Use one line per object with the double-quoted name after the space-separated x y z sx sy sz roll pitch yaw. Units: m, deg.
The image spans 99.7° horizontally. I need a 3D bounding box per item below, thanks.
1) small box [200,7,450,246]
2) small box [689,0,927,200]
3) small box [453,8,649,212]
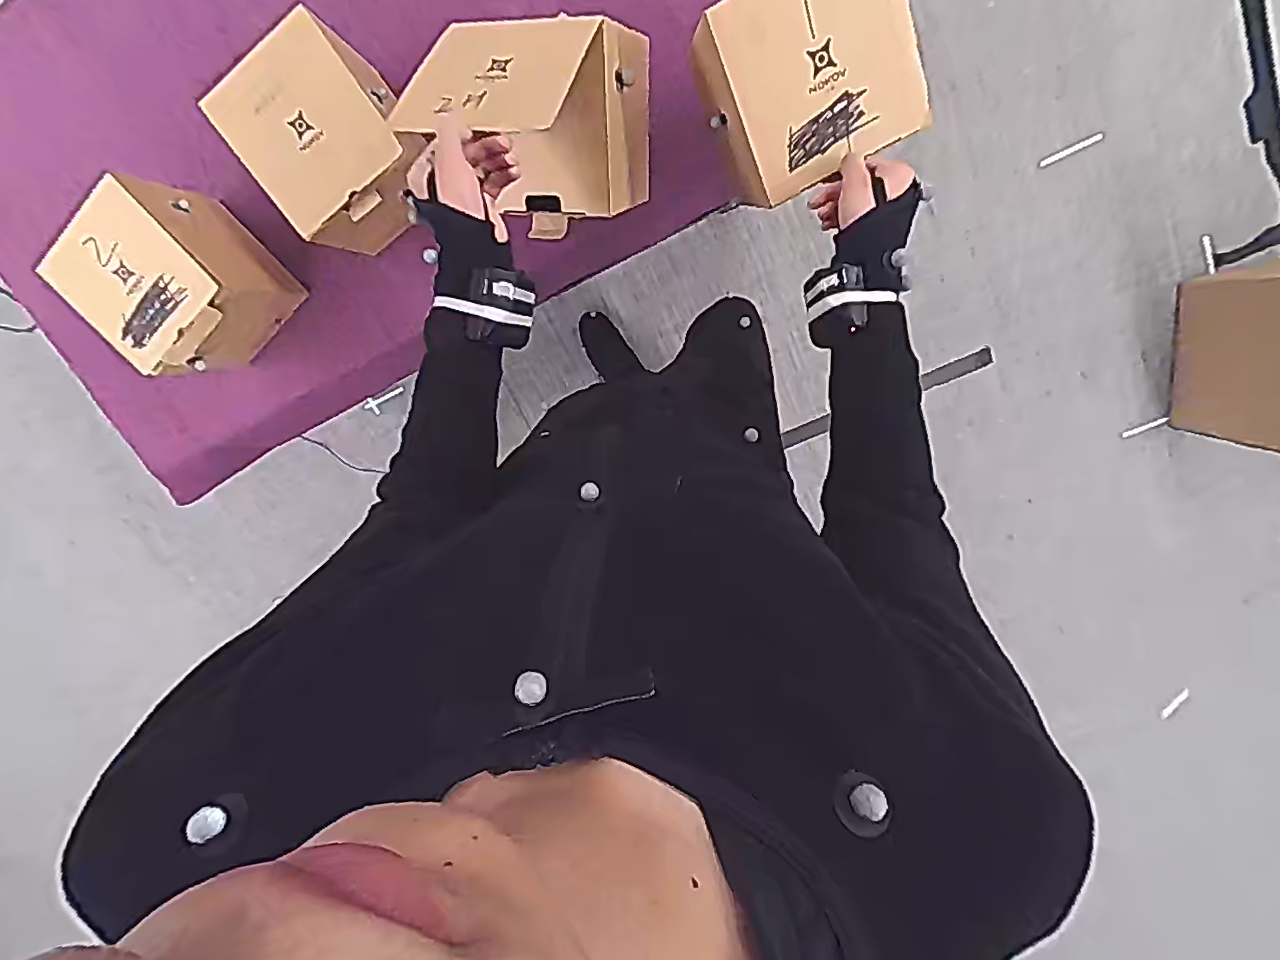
-0.376 -0.419 0.685 0.168 0.176 0.179 -33 103 10 "small box"
0.162 -0.418 0.561 0.168 0.176 0.179 -24 115 11 "small box"
-0.090 -0.422 0.635 0.168 0.176 0.179 9 124 14 "small box"
